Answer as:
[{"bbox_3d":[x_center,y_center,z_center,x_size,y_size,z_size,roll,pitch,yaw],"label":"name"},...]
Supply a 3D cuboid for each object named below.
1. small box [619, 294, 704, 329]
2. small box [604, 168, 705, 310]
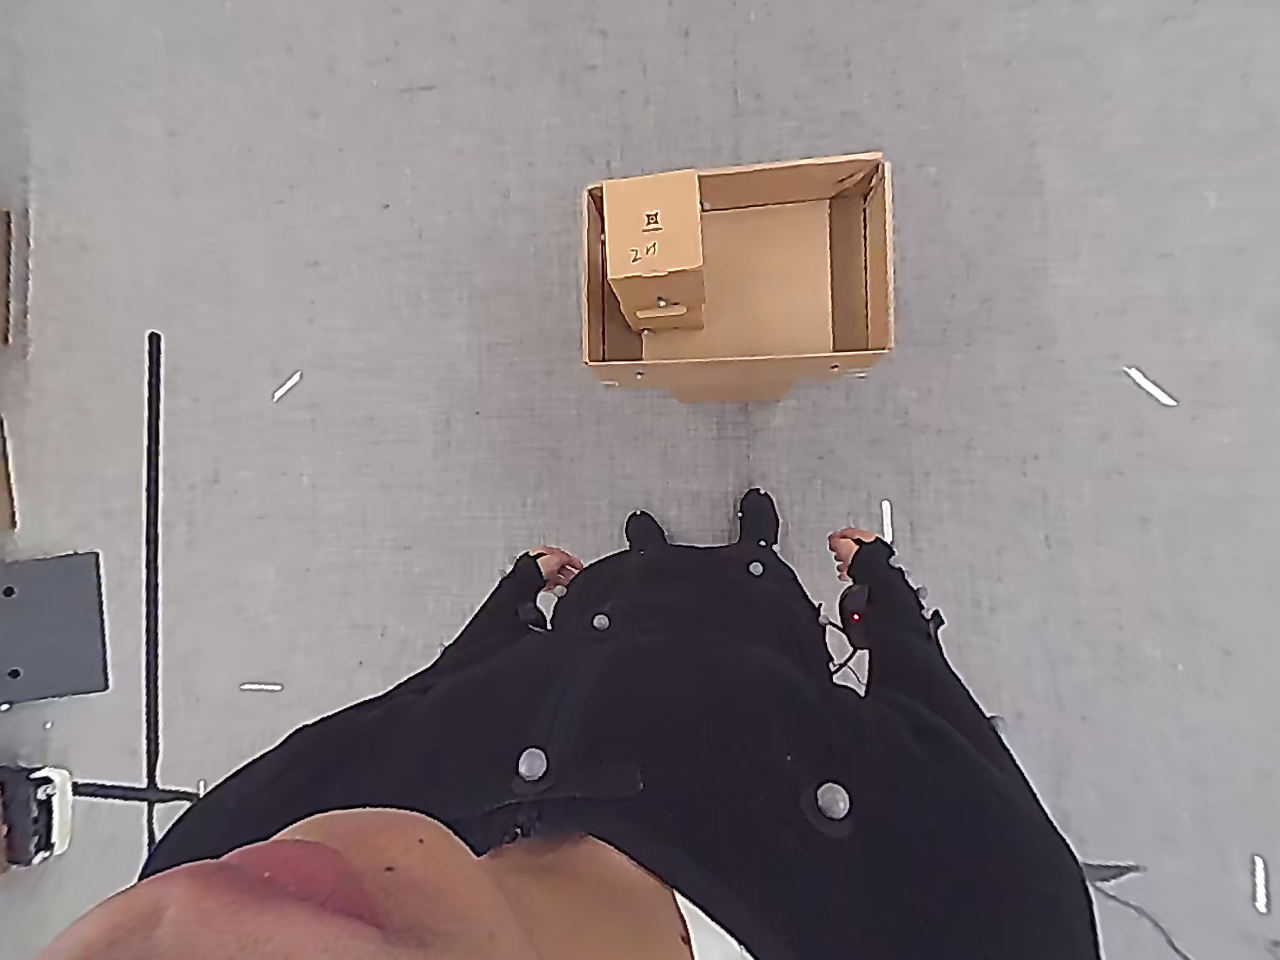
[{"bbox_3d":[0.049,-0.432,1.157,0.168,0.176,0.179,-2,87,9],"label":"small box"},{"bbox_3d":[0.031,-0.433,0.993,0.168,0.176,0.179,-3,88,9],"label":"small box"}]
